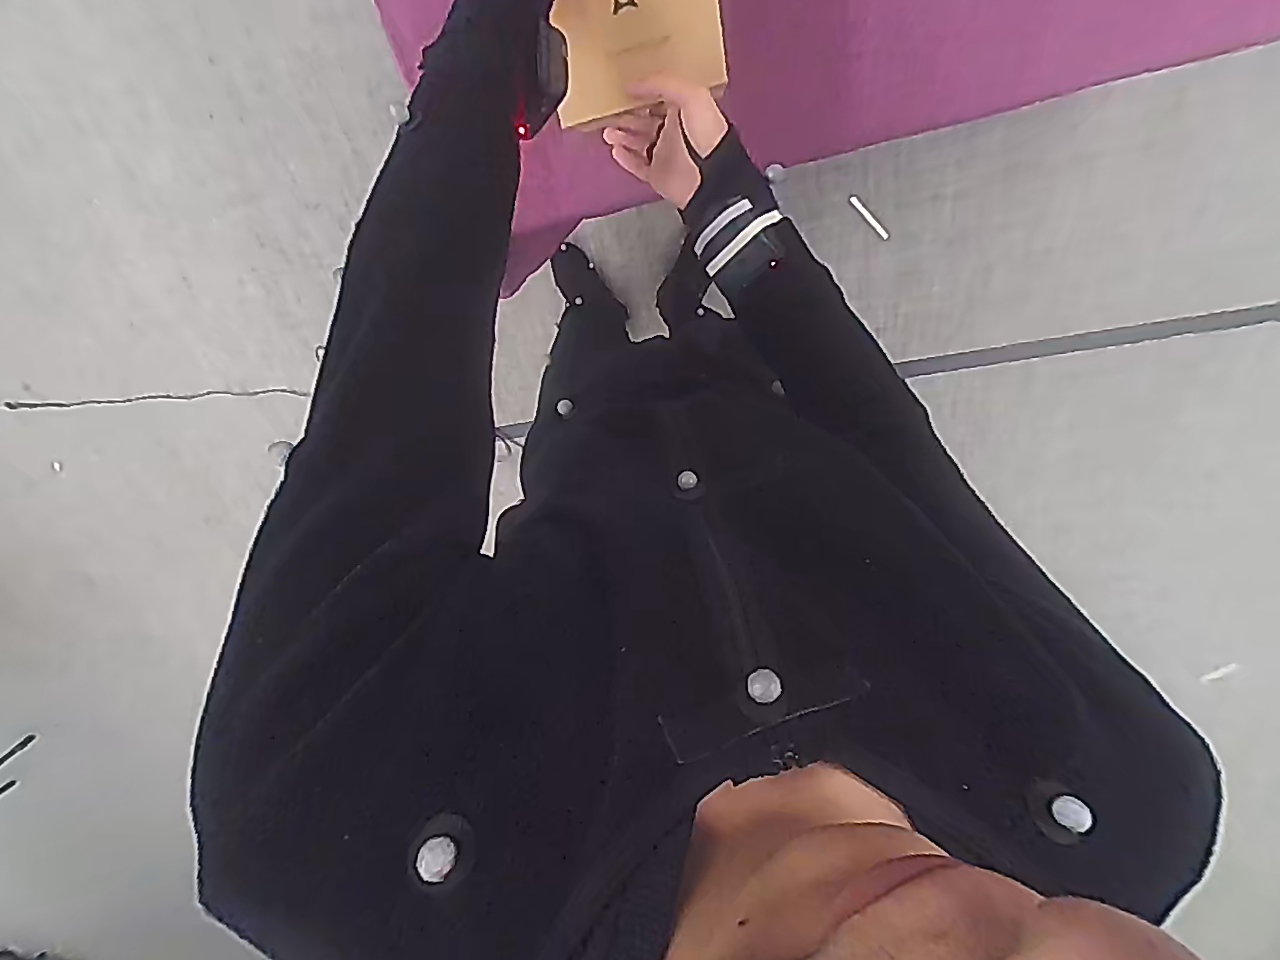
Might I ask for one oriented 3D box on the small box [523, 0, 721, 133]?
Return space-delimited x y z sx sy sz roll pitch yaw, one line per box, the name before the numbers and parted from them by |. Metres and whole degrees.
small box | -0.014 -0.464 0.537 0.168 0.176 0.179 -7 121 12
